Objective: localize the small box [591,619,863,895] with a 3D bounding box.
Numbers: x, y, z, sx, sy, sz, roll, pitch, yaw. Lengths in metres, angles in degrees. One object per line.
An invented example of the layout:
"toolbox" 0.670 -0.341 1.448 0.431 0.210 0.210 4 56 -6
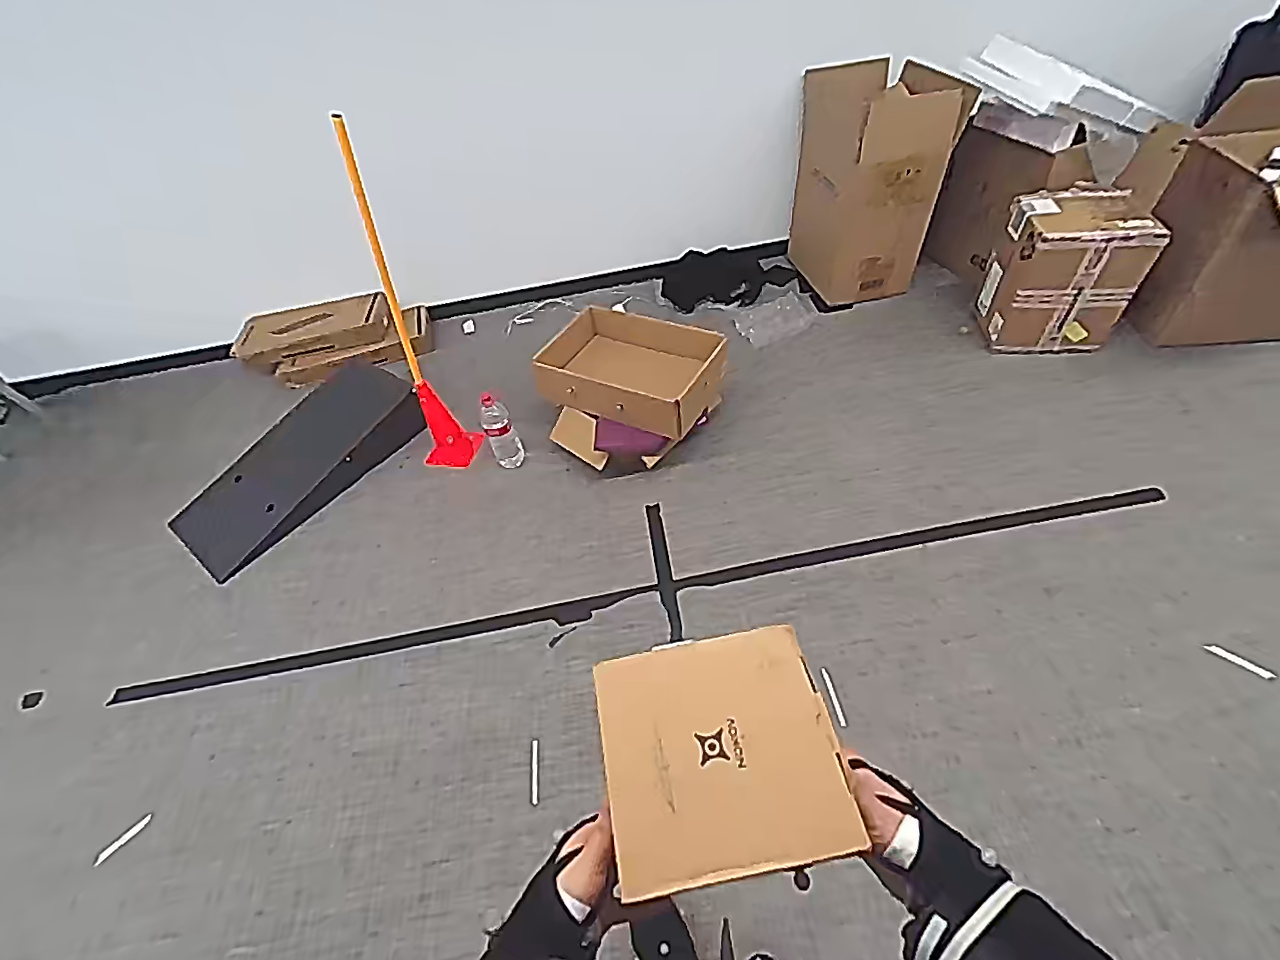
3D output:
"small box" 0.065 0.247 0.479 0.179 0.176 0.168 -13 52 0
